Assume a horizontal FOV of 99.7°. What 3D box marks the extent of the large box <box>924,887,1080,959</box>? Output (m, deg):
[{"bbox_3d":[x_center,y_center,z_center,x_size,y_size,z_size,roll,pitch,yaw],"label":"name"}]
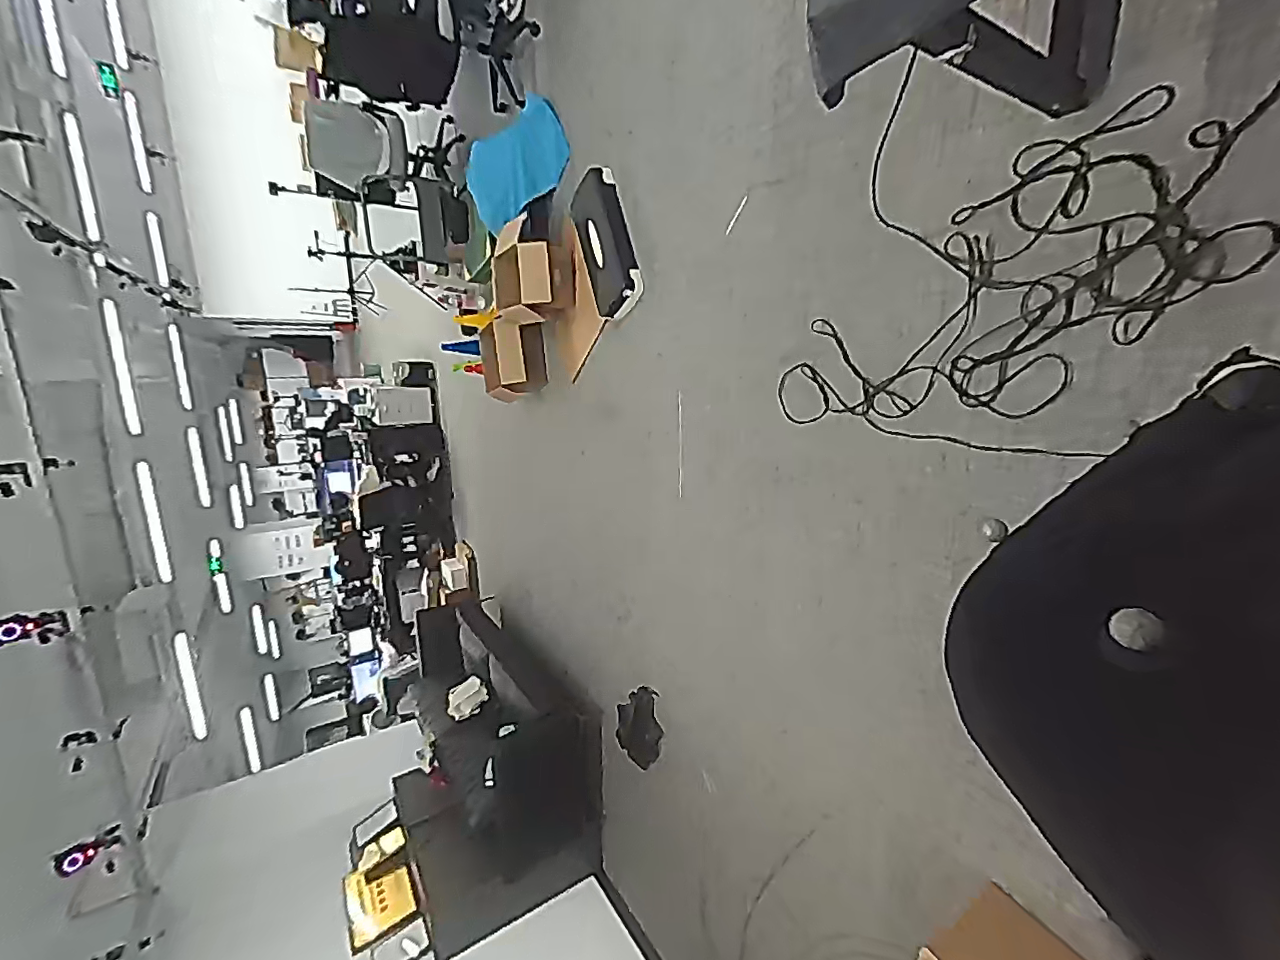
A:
[{"bbox_3d":[0.909,1.290,1.247,0.408,0.320,0.320,29,121,53],"label":"large box"}]
